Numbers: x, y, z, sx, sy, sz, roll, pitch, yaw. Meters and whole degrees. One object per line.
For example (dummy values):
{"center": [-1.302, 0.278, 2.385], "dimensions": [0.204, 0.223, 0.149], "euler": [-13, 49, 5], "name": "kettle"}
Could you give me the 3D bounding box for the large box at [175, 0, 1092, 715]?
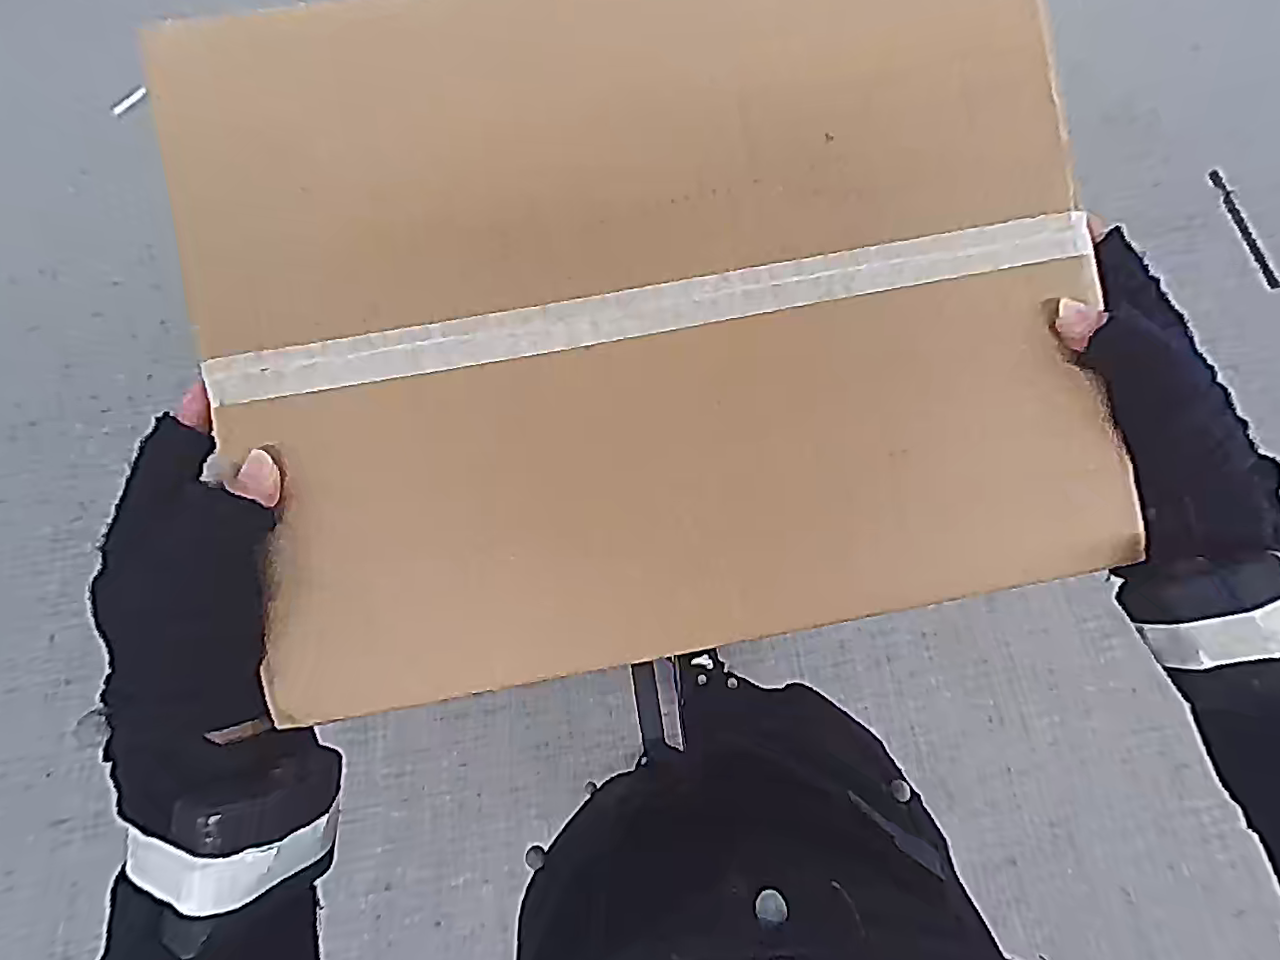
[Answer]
{"center": [0.002, -0.078, 0.407], "dimensions": [0.408, 0.320, 0.320], "euler": [-10, 90, -3], "name": "large box"}
